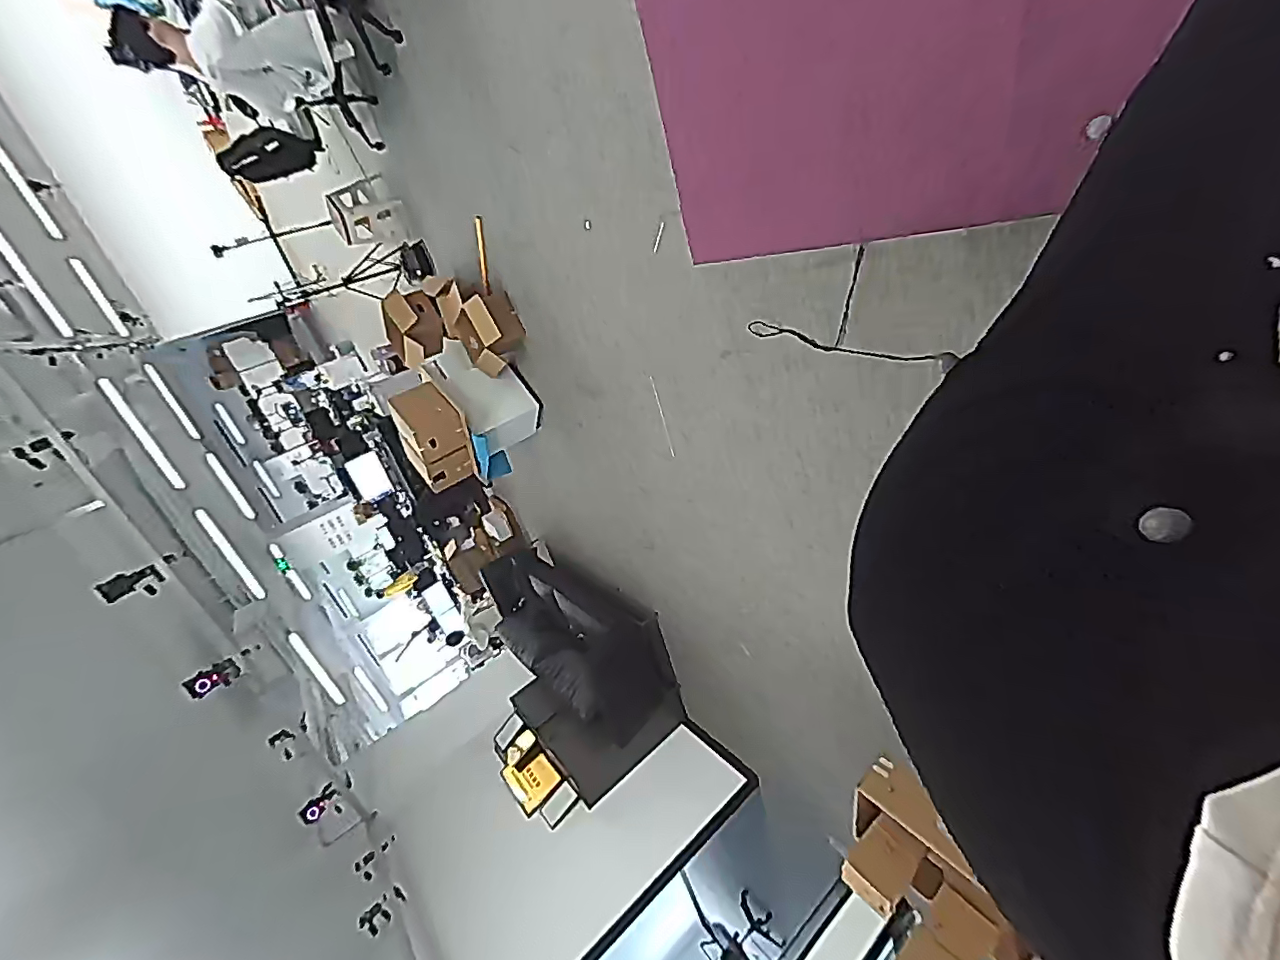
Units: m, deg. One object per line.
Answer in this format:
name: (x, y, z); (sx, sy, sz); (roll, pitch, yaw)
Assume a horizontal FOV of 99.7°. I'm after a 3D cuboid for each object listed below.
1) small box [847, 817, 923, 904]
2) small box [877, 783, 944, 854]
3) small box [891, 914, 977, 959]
small box: (0.873, 1.349, 1.935); (0.179, 0.176, 0.168); (33, 144, 44)
small box: (0.998, 1.274, 2.007); (0.168, 0.176, 0.179); (33, 144, 43)
small box: (0.901, 1.492, 1.663); (0.179, 0.176, 0.168); (27, 140, 47)
